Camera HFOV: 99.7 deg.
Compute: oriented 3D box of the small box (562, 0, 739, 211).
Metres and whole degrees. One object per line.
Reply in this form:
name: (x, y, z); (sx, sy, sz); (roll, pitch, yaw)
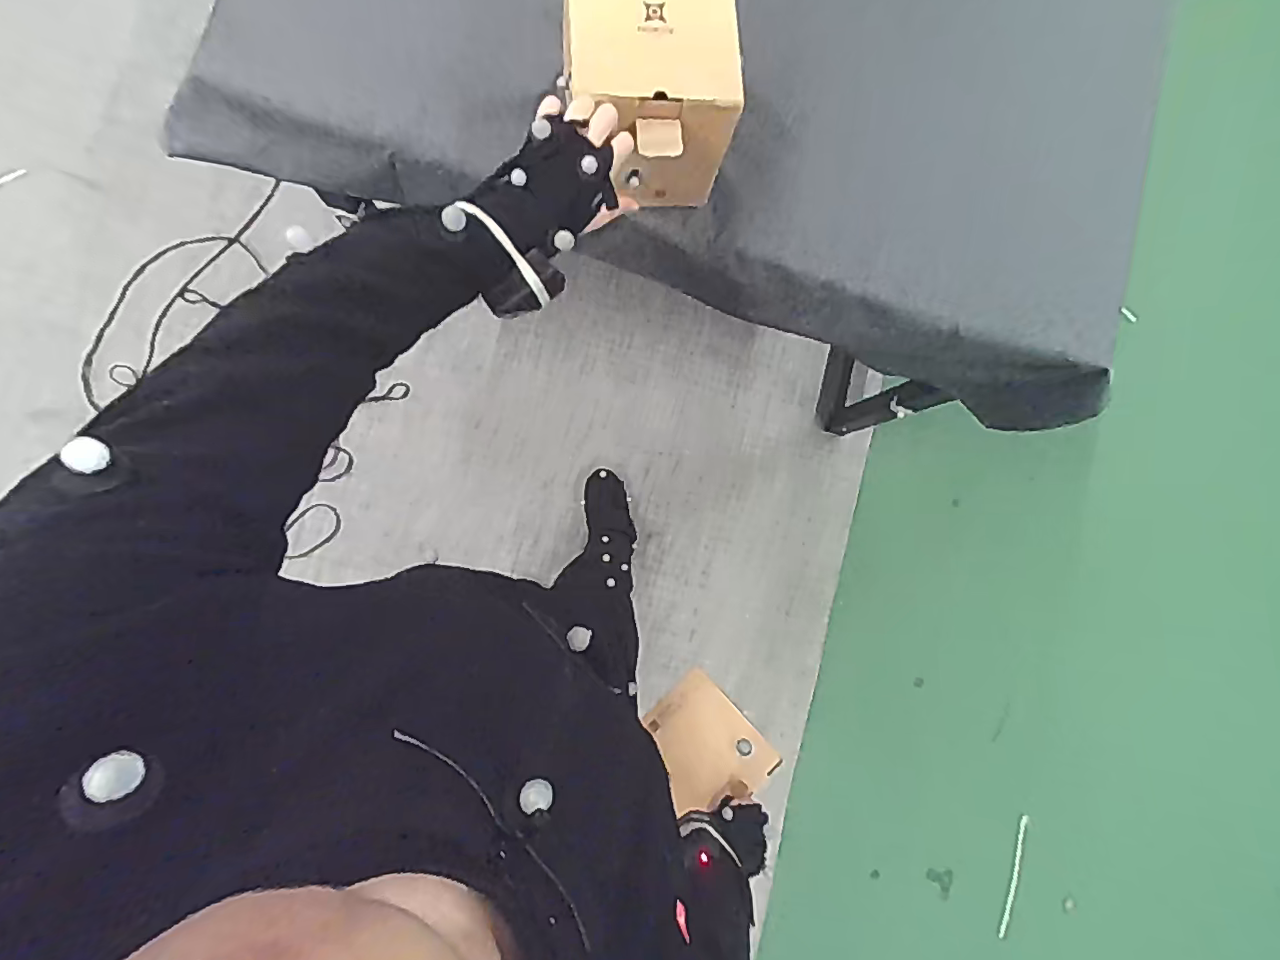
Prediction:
small box: (0.000, -0.432, 0.601); (0.168, 0.176, 0.179); (-4, 86, -8)
